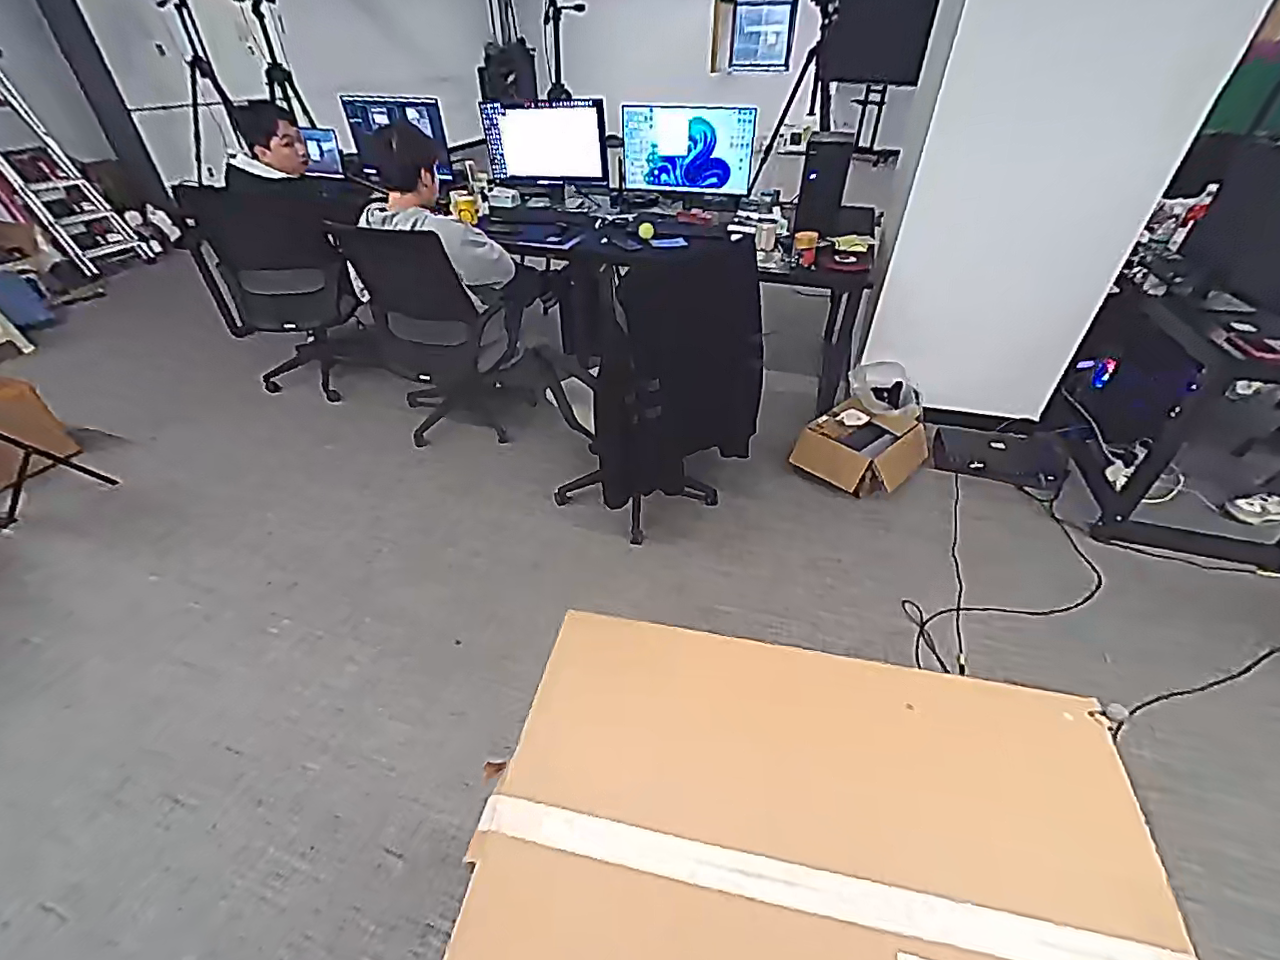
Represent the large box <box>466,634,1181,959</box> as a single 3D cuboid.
[{"bbox_3d":[0.108,0.360,0.429,0.408,0.320,0.320,7,46,9],"label":"large box"}]
